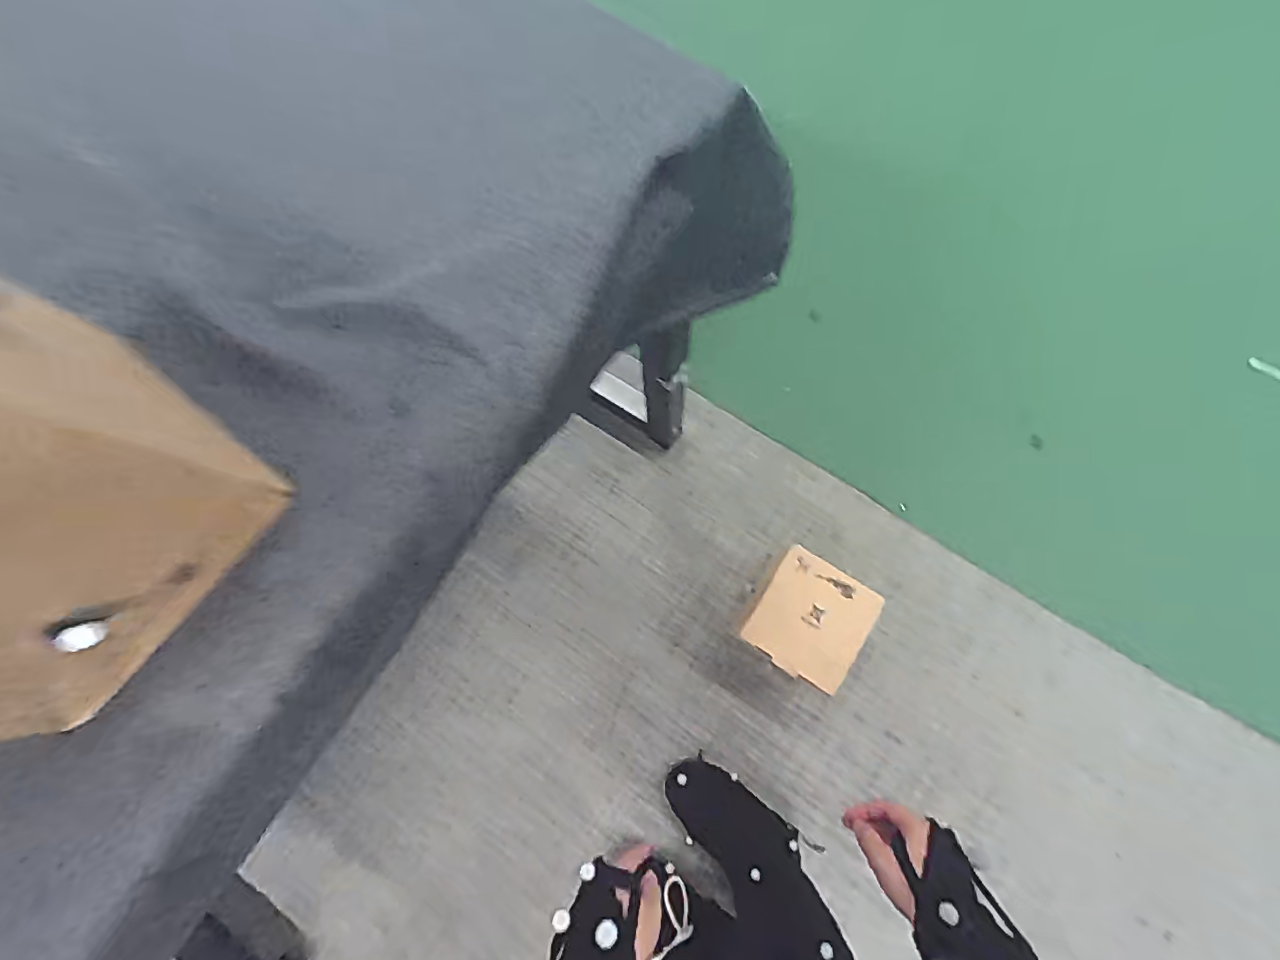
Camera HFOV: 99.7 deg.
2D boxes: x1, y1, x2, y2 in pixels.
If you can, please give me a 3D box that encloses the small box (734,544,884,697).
[{"bbox_3d":[0.272,0.234,0.914,0.168,0.176,0.179,32,80,11],"label":"small box"}]
